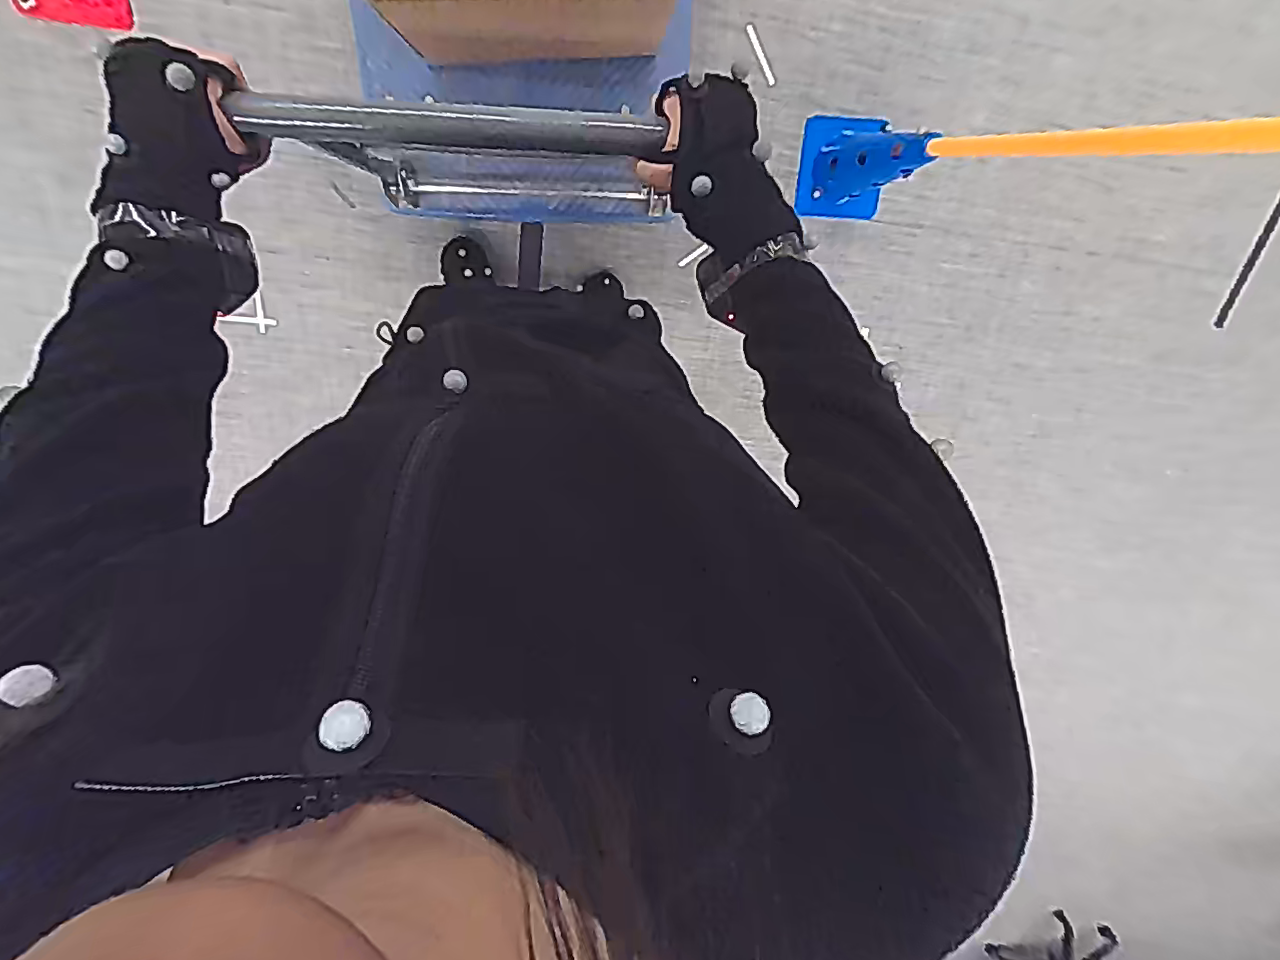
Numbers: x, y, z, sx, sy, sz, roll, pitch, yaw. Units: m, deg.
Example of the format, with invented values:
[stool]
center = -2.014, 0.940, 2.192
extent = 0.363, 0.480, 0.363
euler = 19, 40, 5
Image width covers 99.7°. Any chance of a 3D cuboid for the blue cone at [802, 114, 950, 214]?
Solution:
[blue cone]
center = 0.480, -0.646, 1.072
extent = 0.193, 0.380, 0.192
euler = 1, 113, -7
